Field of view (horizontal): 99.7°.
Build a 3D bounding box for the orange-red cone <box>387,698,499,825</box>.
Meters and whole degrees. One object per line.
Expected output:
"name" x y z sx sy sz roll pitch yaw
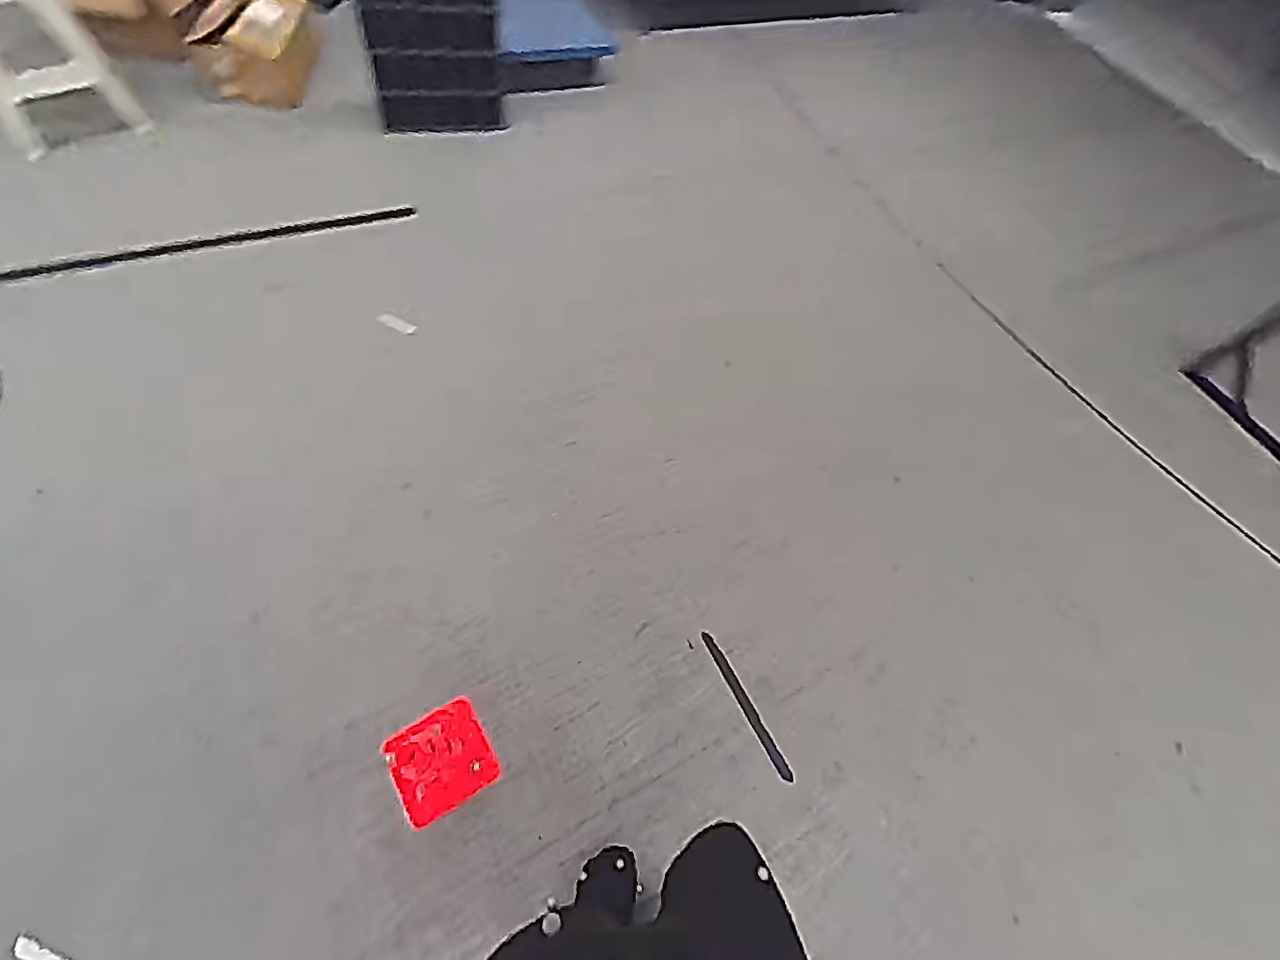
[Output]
"orange-red cone" -0.405 0.524 1.035 0.198 0.360 0.199 -25 67 -22
